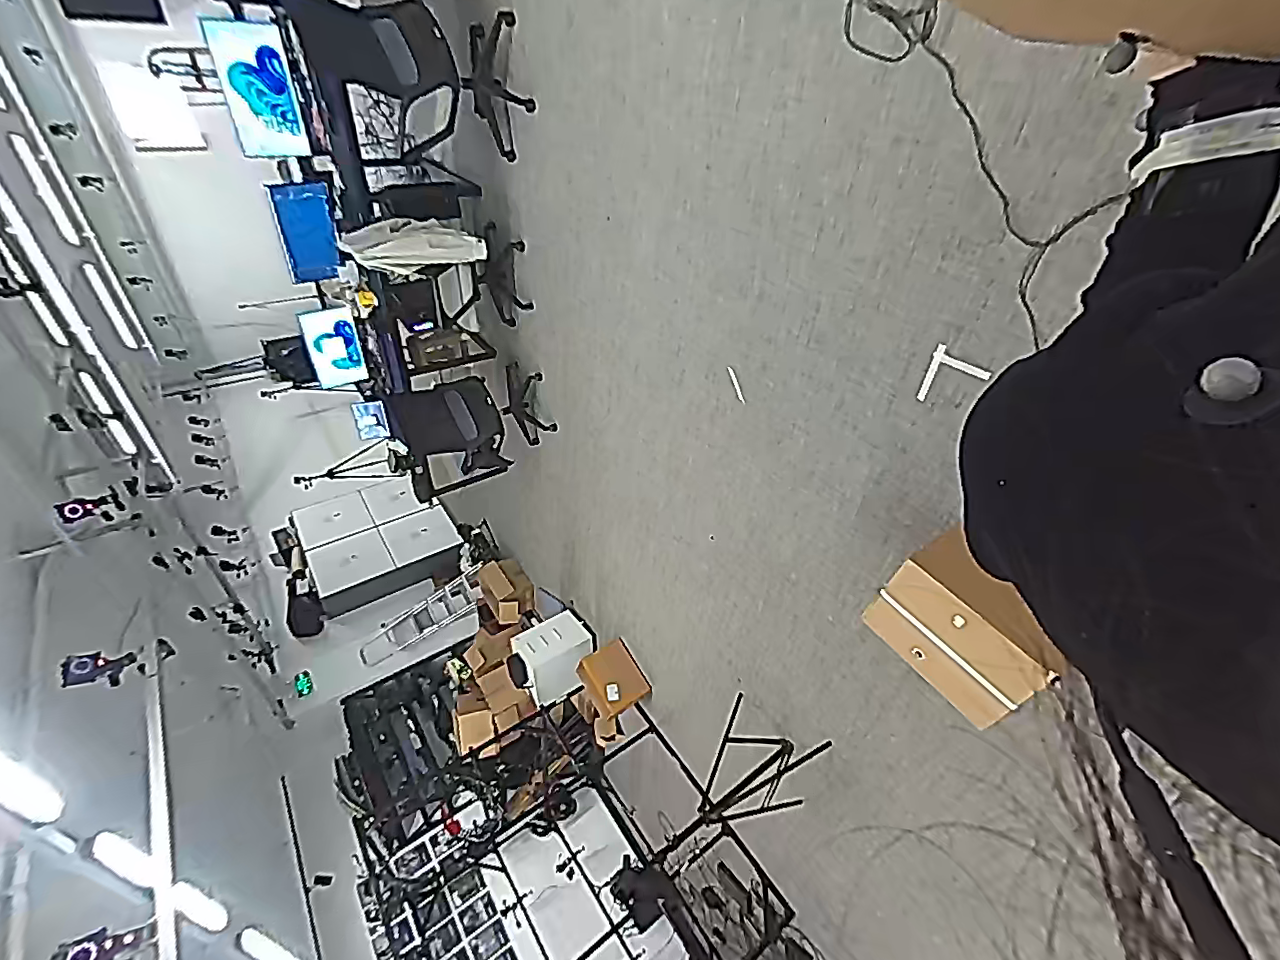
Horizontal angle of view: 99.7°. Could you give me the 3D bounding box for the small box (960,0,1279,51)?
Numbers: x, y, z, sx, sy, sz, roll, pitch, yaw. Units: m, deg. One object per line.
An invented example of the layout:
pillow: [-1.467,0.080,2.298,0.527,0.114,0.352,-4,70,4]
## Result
small box: [0.278,-0.329,0.259,0.179,0.176,0.168,43,136,35]
